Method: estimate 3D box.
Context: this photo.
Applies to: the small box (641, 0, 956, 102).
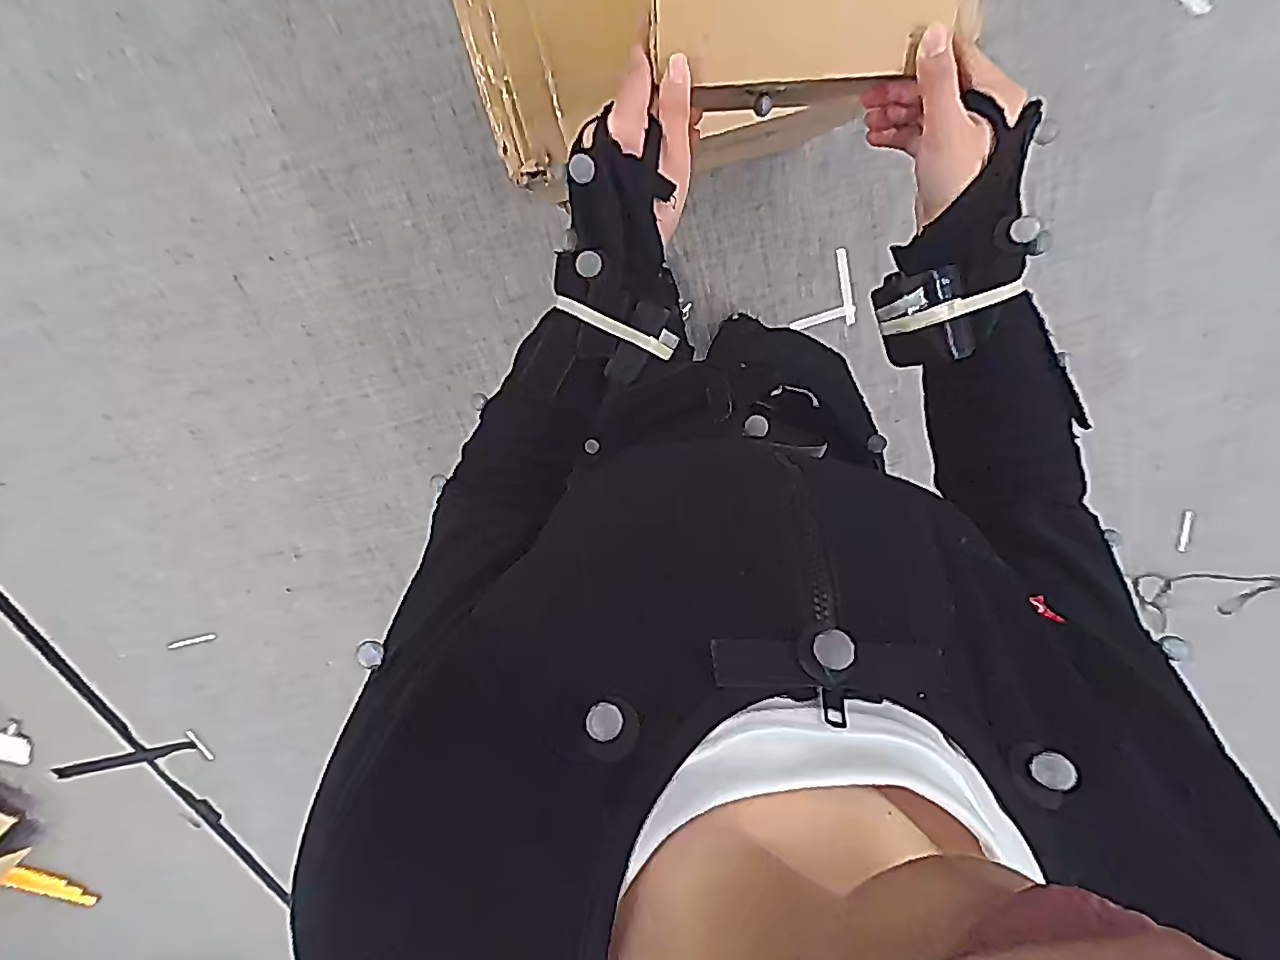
[{"bbox_3d":[0.087,-0.355,0.348,0.179,0.176,0.168,-4,120,0],"label":"small box"}]
